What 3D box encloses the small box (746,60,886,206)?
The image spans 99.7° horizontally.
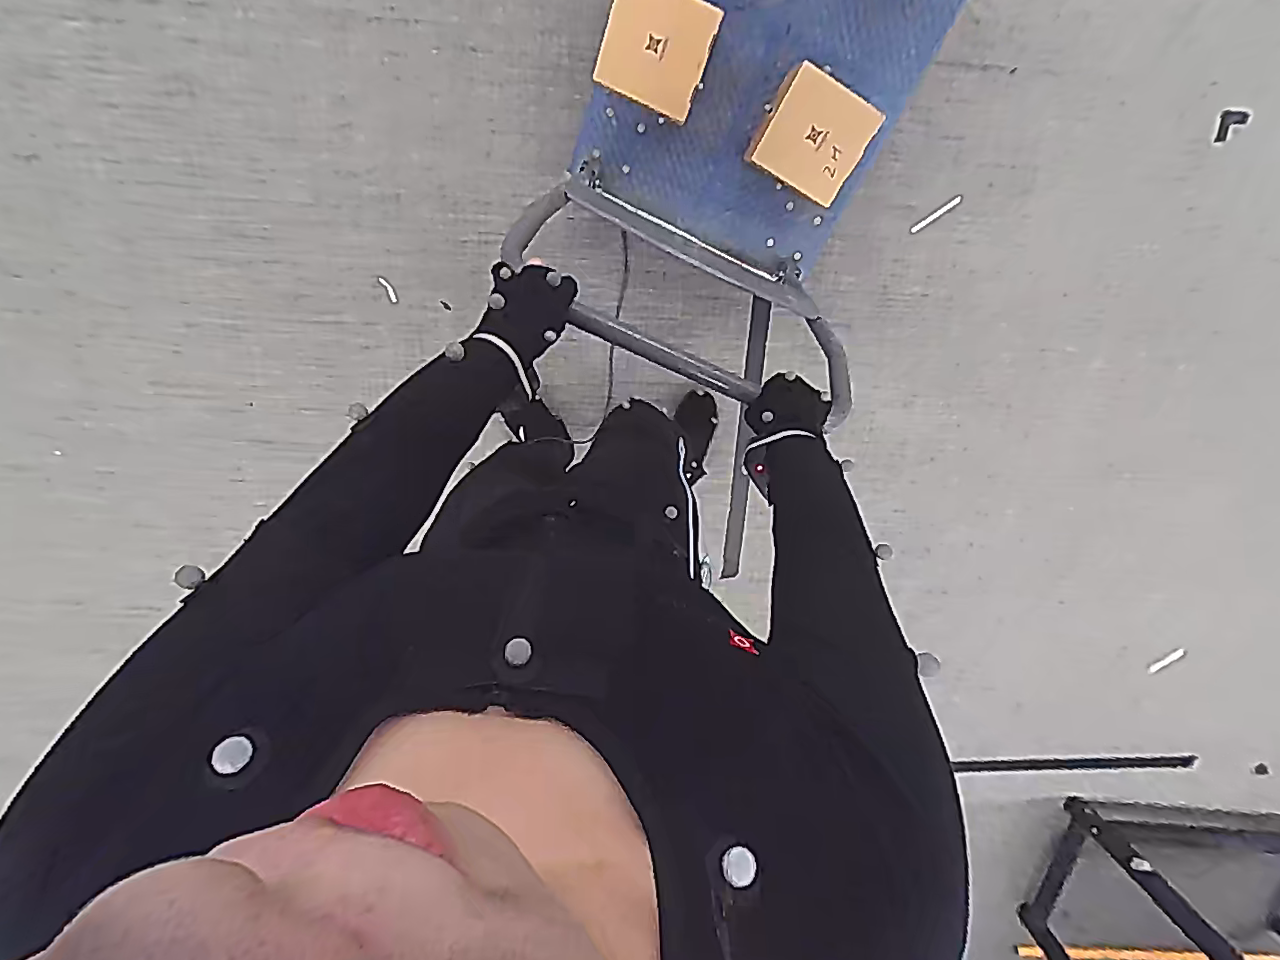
[{"bbox_3d":[0.320,-0.648,1.028,0.179,0.176,0.168,26,120,-12],"label":"small box"}]

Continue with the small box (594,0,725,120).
[{"bbox_3d":[0.032,-0.771,0.972,0.179,0.176,0.168,20,120,-10],"label":"small box"}]
